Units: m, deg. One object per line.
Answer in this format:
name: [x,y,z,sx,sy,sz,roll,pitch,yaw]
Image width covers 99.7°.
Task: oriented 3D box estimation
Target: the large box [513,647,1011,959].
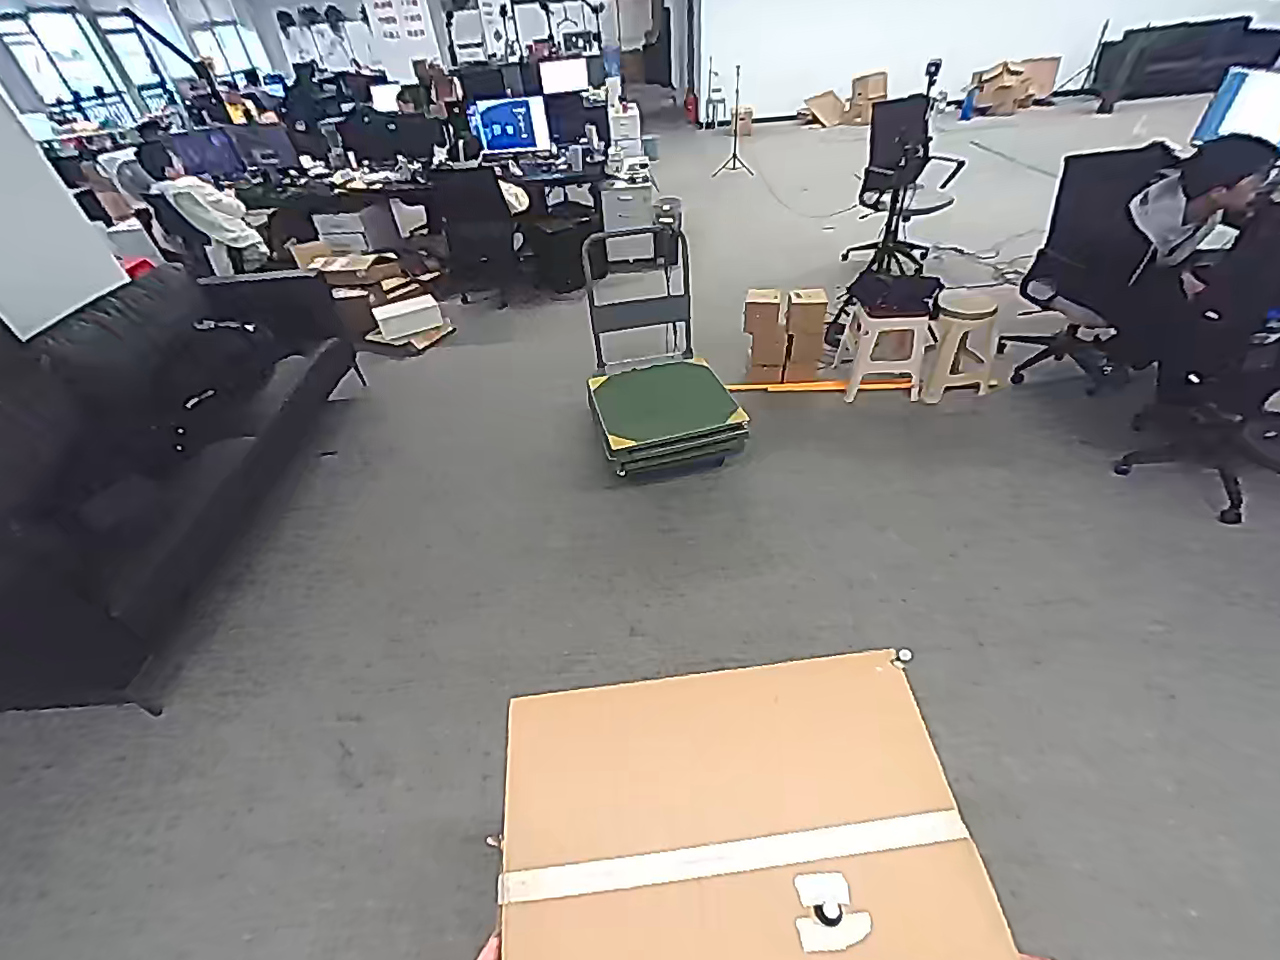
large box: [0.091,0.415,0.599,0.408,0.320,0.320,-7,54,-2]
